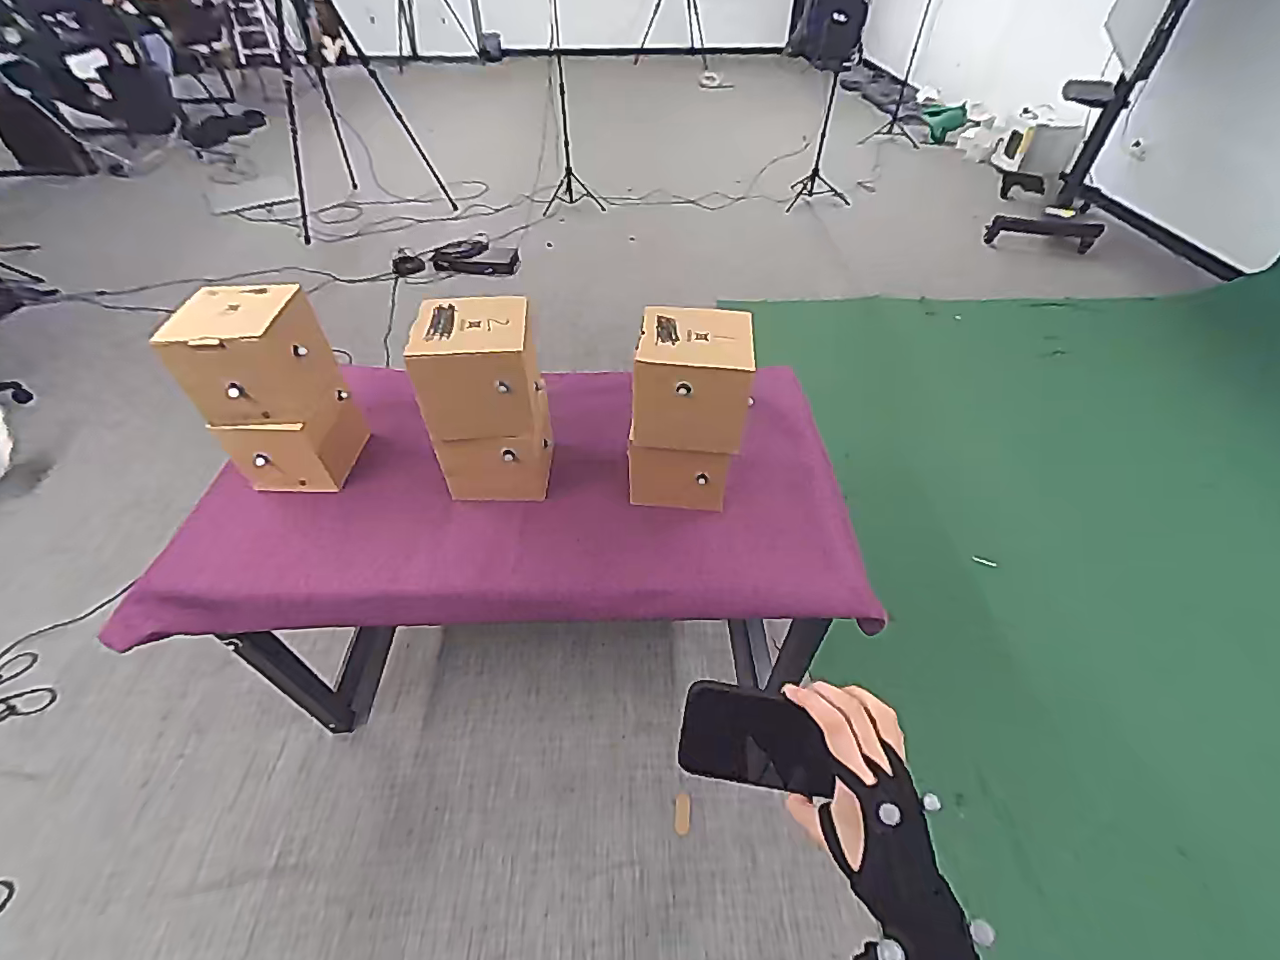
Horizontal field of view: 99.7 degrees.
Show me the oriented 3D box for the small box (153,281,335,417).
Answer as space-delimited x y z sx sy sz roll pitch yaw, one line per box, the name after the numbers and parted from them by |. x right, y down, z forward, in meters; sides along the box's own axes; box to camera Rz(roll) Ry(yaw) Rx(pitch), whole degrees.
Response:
-0.658 -0.220 0.930 0.168 0.176 0.179 -2 48 -3 | small box

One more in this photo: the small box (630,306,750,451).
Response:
0.080 -0.164 0.886 0.179 0.176 0.168 6 47 4 | small box

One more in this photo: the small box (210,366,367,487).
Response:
-0.659 -0.102 1.044 0.168 0.176 0.179 1 47 1 | small box

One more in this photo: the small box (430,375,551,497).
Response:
-0.269 -0.080 1.026 0.179 0.176 0.168 1 47 0 | small box

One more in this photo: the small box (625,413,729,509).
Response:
0.071 -0.063 1.016 0.179 0.176 0.168 5 47 5 | small box
